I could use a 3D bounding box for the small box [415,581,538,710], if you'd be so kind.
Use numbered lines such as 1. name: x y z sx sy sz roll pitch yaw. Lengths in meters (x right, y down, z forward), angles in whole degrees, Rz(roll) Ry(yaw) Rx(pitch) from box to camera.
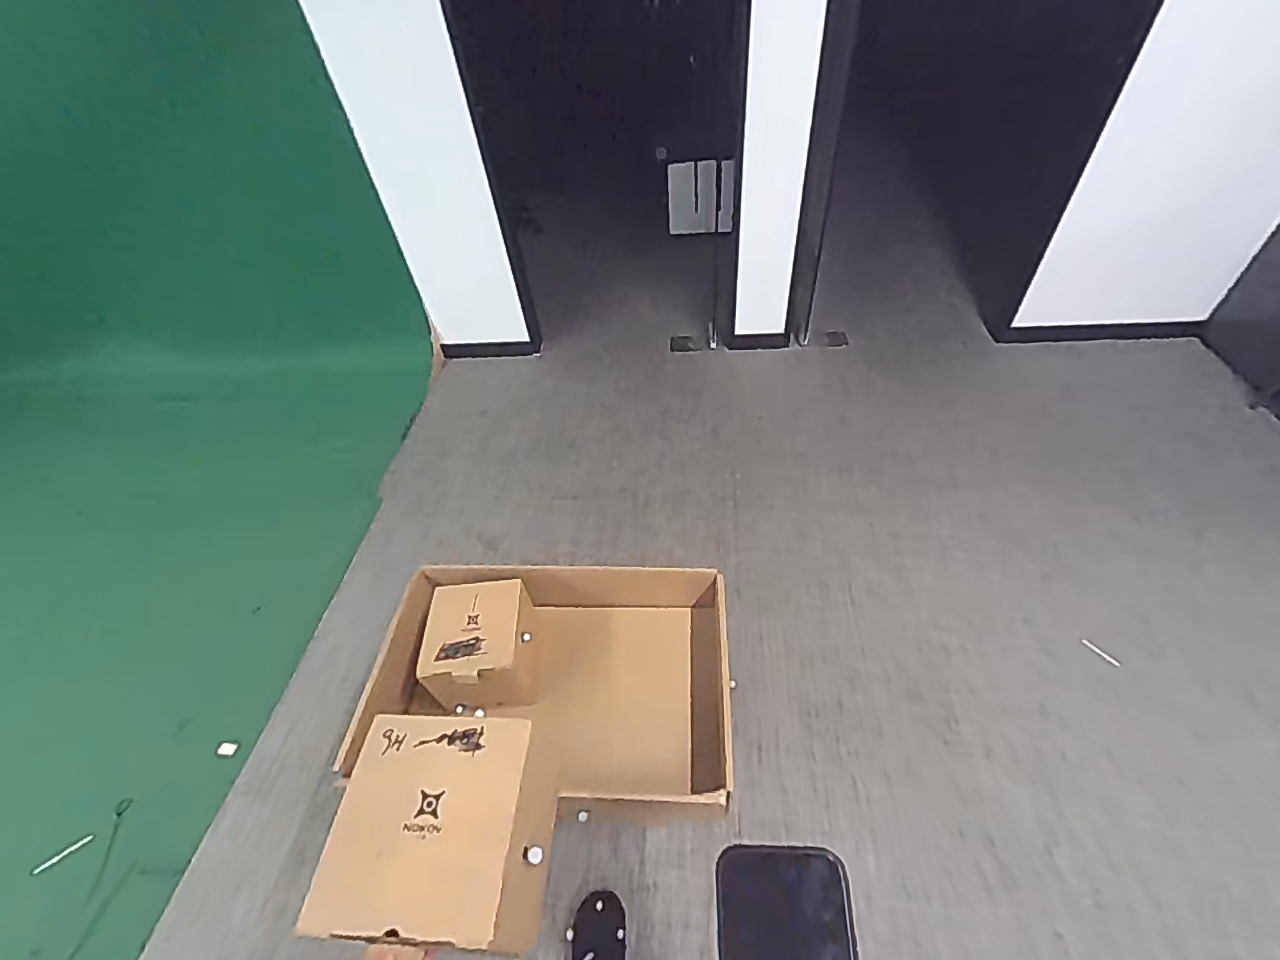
1. small box: -0.292 0.315 1.012 0.168 0.176 0.179 -6 46 1

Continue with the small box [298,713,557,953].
1. small box: -0.187 0.356 0.545 0.168 0.176 0.179 0 47 5
